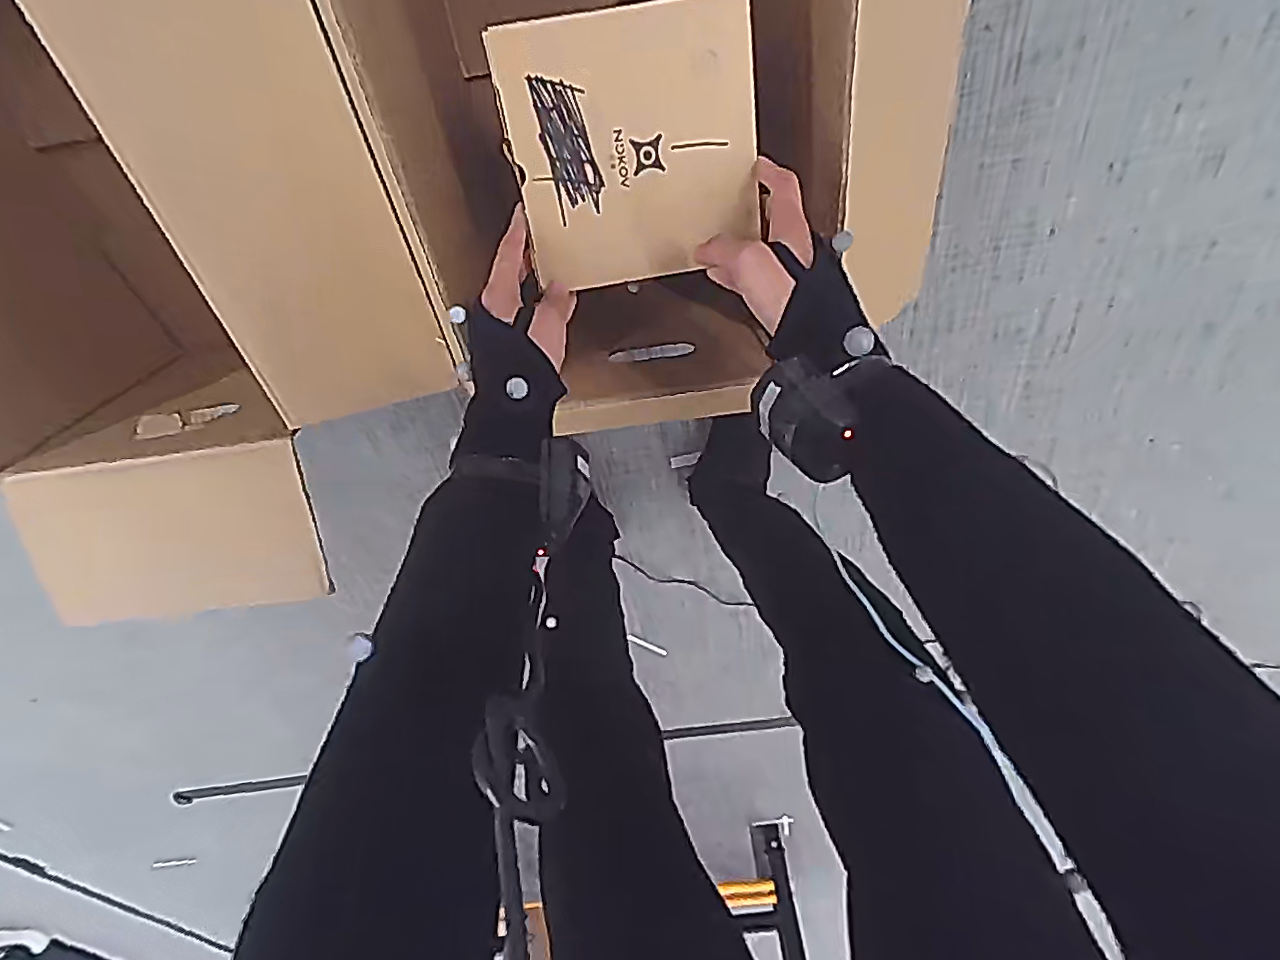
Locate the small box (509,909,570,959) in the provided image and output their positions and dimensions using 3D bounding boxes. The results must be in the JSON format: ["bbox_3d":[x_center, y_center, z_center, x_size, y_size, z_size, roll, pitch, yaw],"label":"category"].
[{"bbox_3d":[-0.334,1.562,1.809,0.168,0.176,0.179,-9,127,4],"label":"small box"}]
